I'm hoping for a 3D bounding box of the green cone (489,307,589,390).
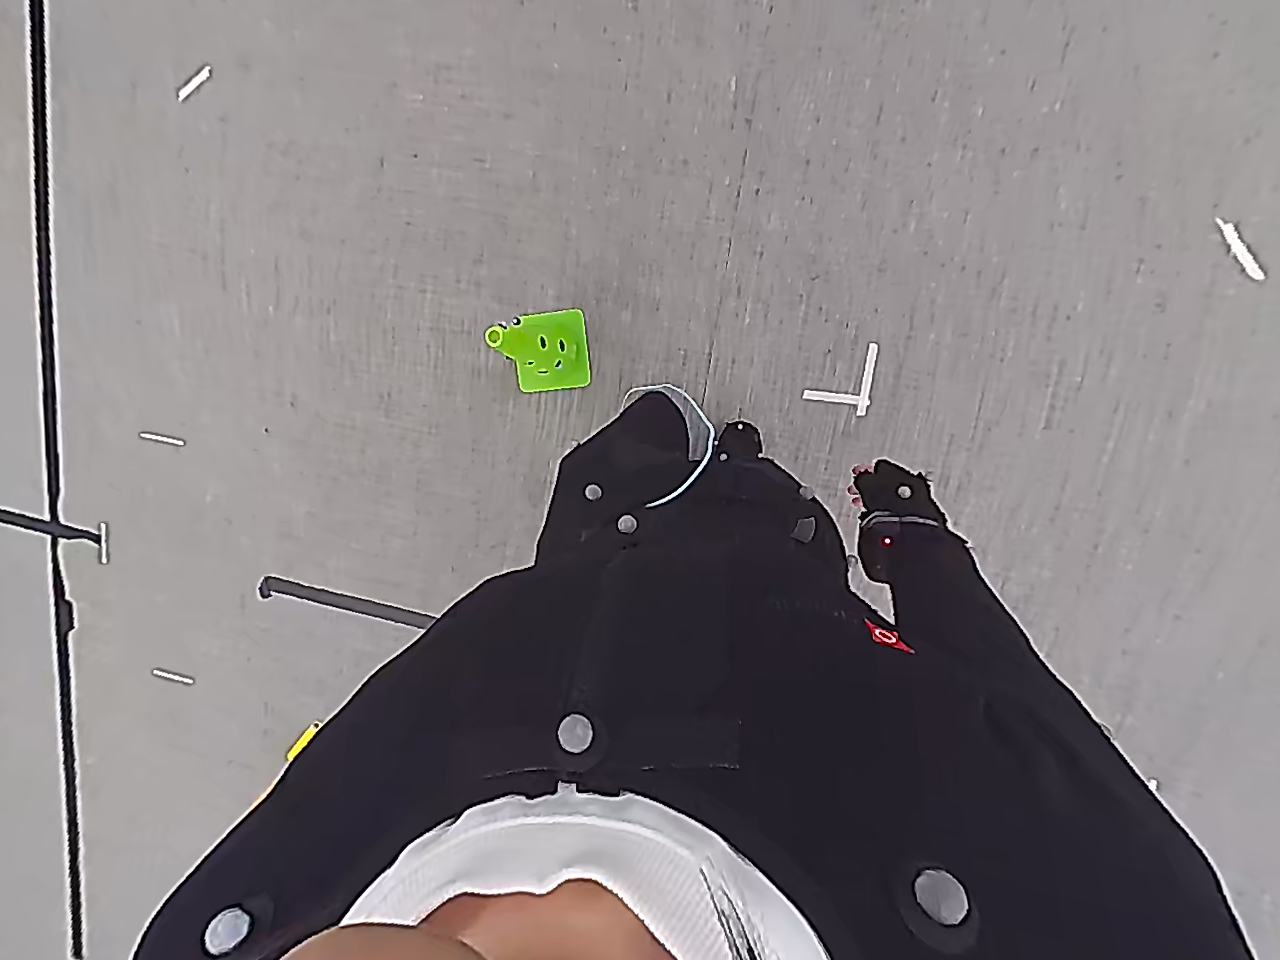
[{"bbox_3d":[-0.264,-0.316,1.256,0.202,0.368,0.200,-5,98,9],"label":"green cone"}]

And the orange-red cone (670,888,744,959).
[{"bbox_3d":[0.167,1.343,1.440,0.199,0.360,0.198,11,100,9],"label":"orange-red cone"}]
